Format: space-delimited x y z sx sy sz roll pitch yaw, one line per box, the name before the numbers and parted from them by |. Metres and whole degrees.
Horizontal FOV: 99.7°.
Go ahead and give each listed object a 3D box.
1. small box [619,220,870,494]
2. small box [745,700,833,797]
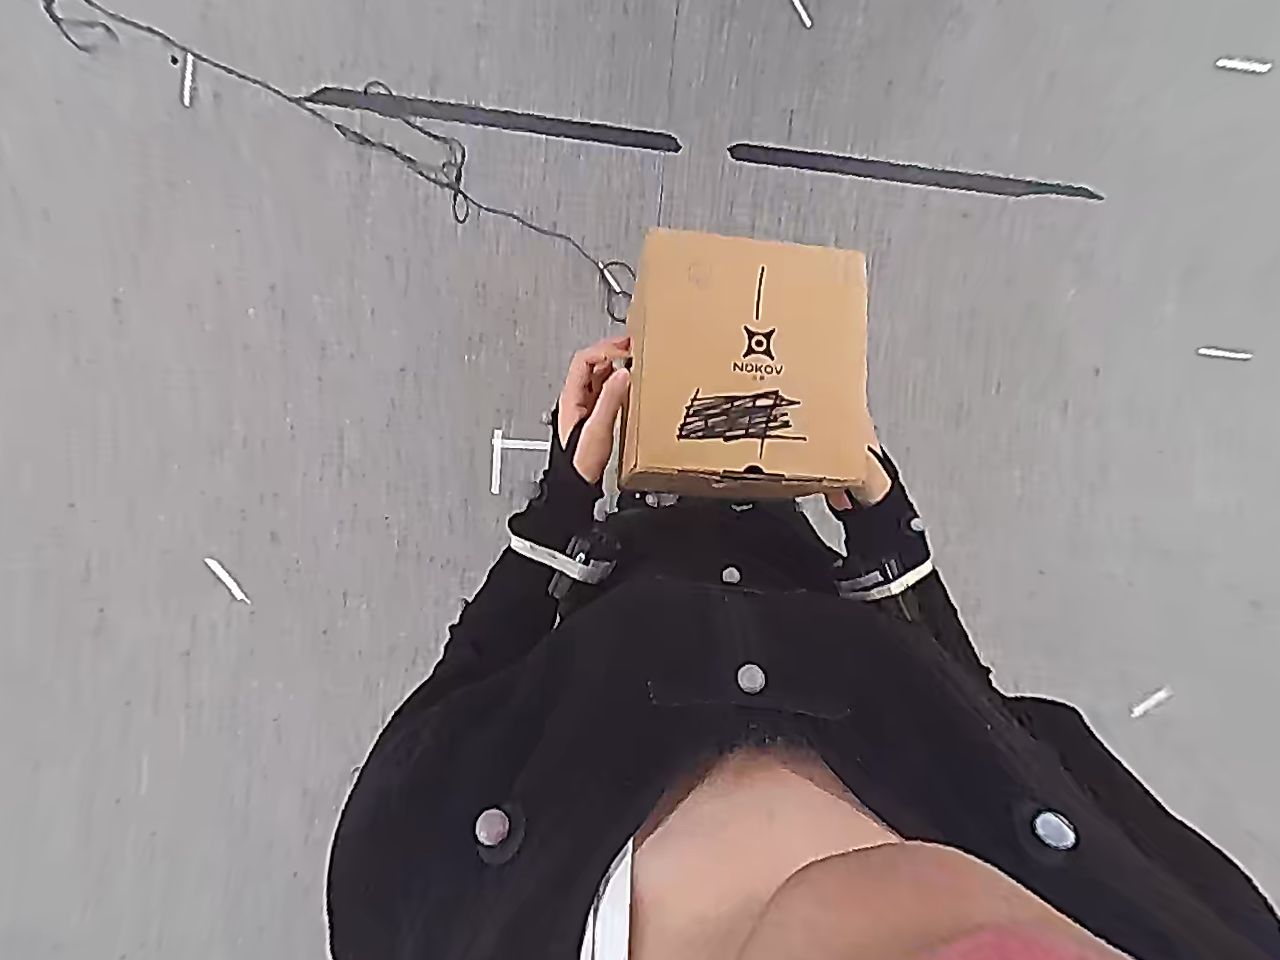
small box | 0.073 -0.083 0.458 0.168 0.176 0.179 4 83 -7
small box | 0.394 0.709 1.446 0.179 0.176 0.168 -7 92 -3
